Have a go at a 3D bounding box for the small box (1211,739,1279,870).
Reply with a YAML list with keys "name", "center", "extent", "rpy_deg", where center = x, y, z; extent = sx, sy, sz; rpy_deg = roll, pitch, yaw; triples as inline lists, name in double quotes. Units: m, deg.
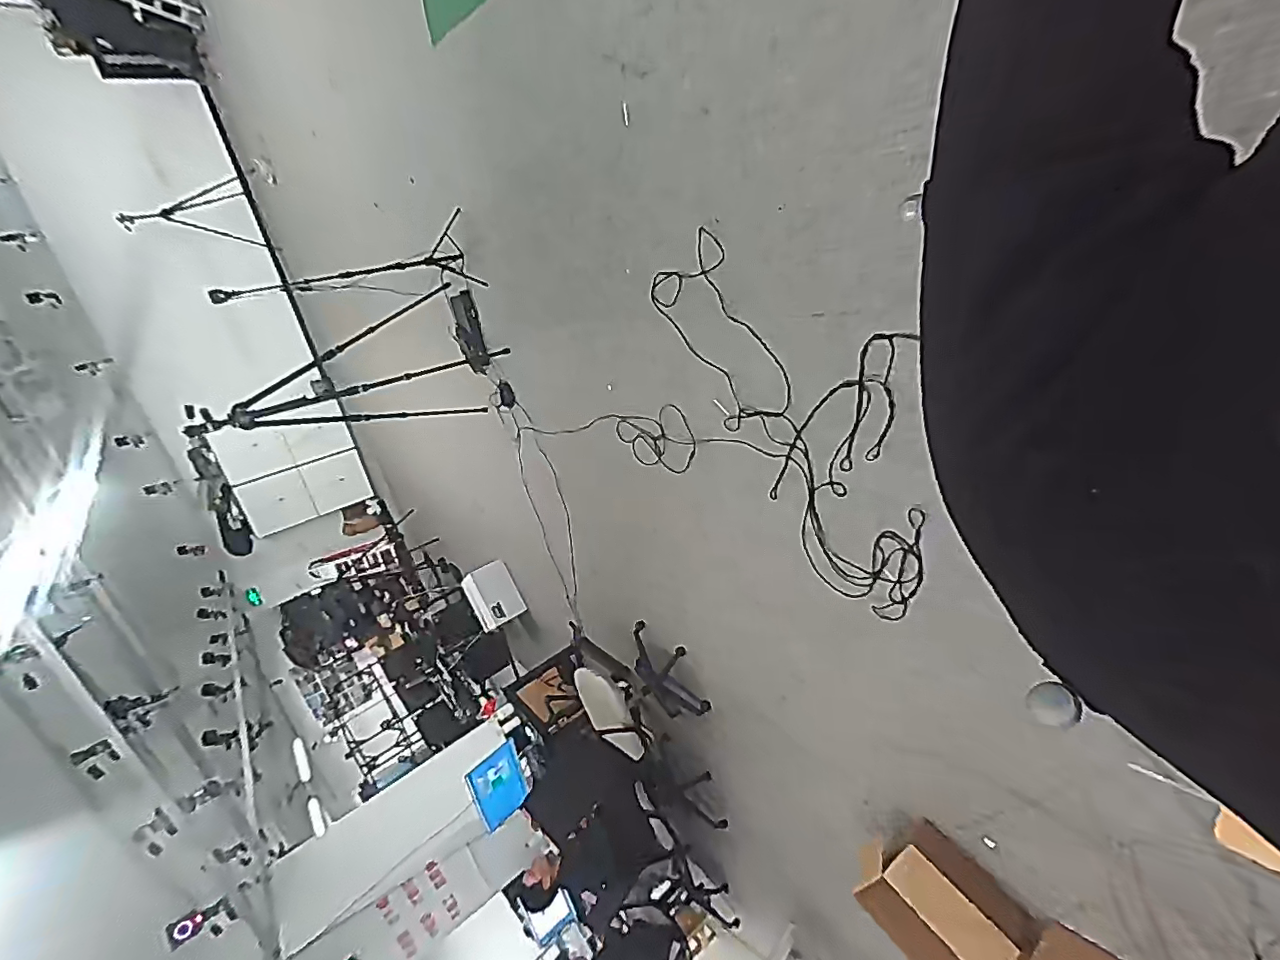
- name: "small box"
  center: [1.363, 0.701, 1.150]
  extent: [0.168, 0.176, 0.179]
  rpy_deg: [15, 123, 49]
